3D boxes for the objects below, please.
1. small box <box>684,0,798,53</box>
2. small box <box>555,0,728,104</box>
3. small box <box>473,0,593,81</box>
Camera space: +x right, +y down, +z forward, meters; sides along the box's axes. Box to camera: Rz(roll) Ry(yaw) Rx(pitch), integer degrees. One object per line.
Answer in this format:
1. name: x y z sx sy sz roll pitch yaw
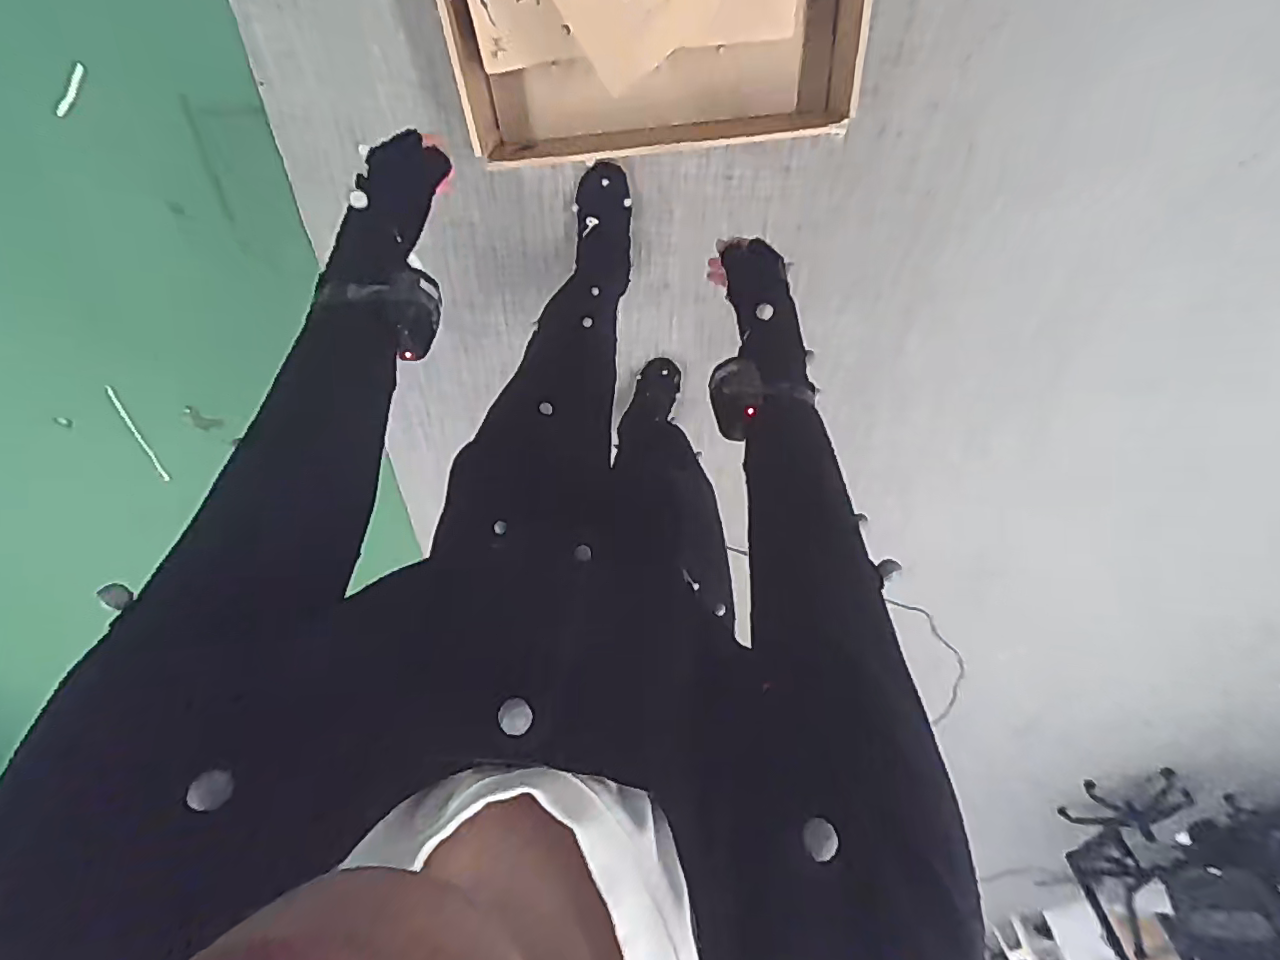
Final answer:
1. small box: 0.132 -0.735 0.791 0.179 0.176 0.168 -3 130 3
2. small box: -0.011 -0.619 0.680 0.168 0.176 0.179 -29 126 22
3. small box: -0.147 -0.716 0.808 0.179 0.176 0.168 -7 129 4
